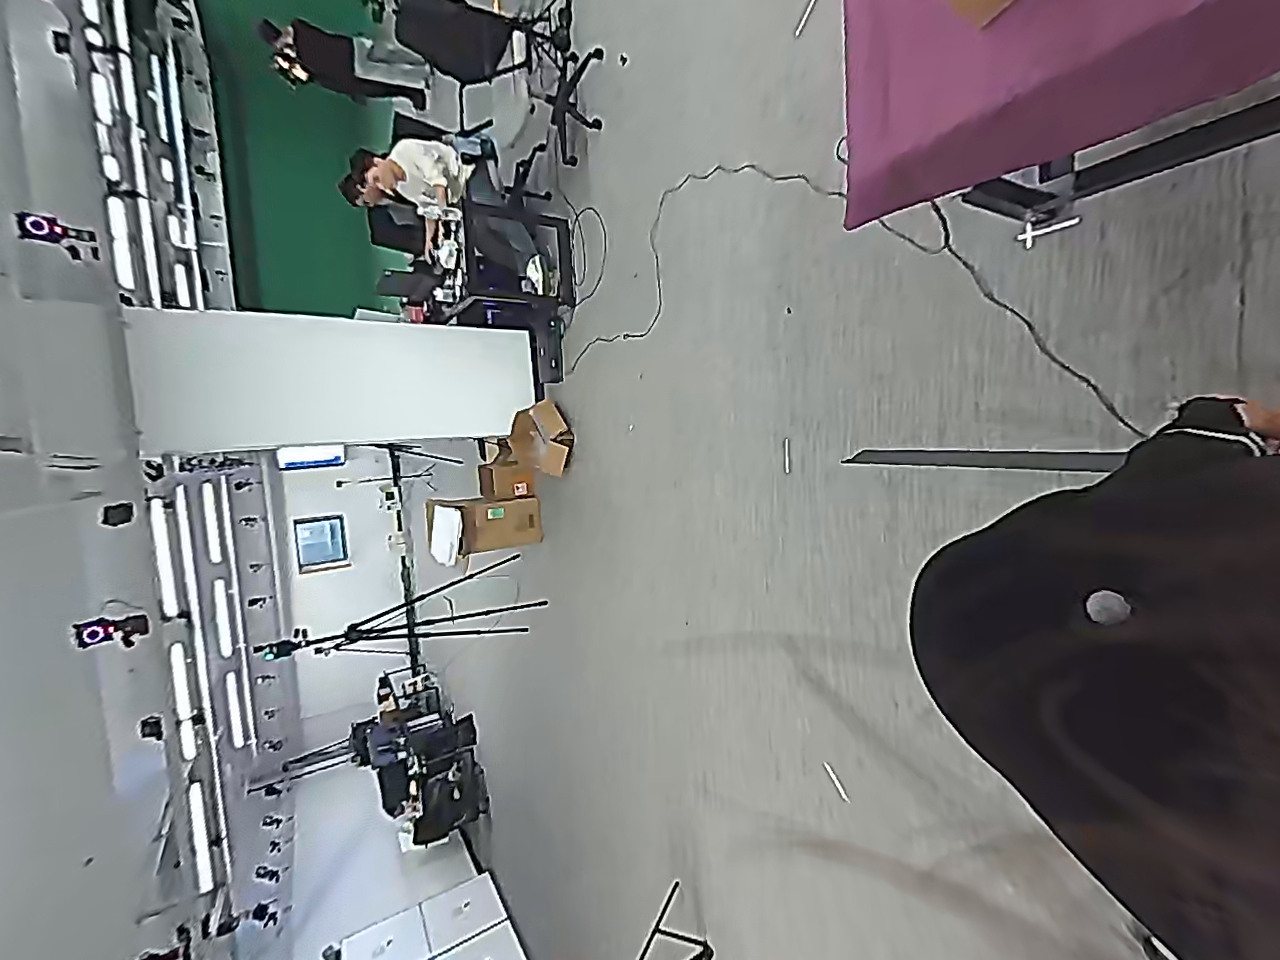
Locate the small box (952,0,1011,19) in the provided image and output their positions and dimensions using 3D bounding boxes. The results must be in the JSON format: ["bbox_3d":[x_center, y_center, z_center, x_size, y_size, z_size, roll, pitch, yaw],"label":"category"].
[{"bbox_3d":[0.481,-0.787,0.730,0.168,0.176,0.179,-21,78,58],"label":"small box"}]
